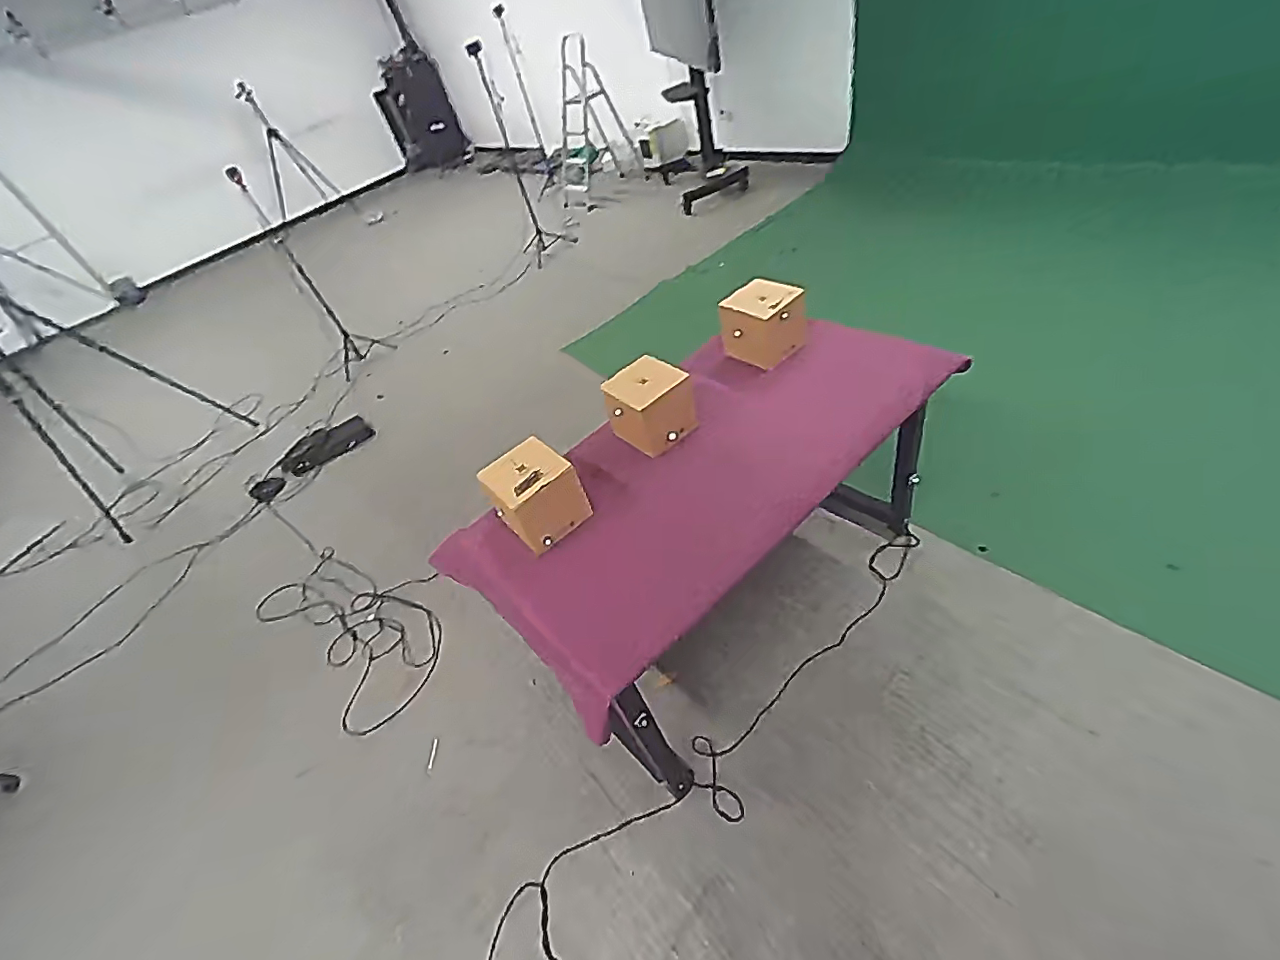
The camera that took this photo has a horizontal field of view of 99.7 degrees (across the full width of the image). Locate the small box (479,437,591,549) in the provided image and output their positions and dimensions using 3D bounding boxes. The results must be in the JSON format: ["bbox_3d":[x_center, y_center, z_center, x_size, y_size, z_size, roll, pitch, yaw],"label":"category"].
[{"bbox_3d":[-0.239,0.036,1.265,0.168,0.176,0.179,-38,47,-20],"label":"small box"}]

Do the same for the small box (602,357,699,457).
[{"bbox_3d":[0.030,-0.189,1.405,0.168,0.176,0.179,-38,47,-18],"label":"small box"}]

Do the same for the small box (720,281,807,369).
[{"bbox_3d":[0.357,-0.442,1.546,0.168,0.176,0.179,-39,46,-19],"label":"small box"}]
